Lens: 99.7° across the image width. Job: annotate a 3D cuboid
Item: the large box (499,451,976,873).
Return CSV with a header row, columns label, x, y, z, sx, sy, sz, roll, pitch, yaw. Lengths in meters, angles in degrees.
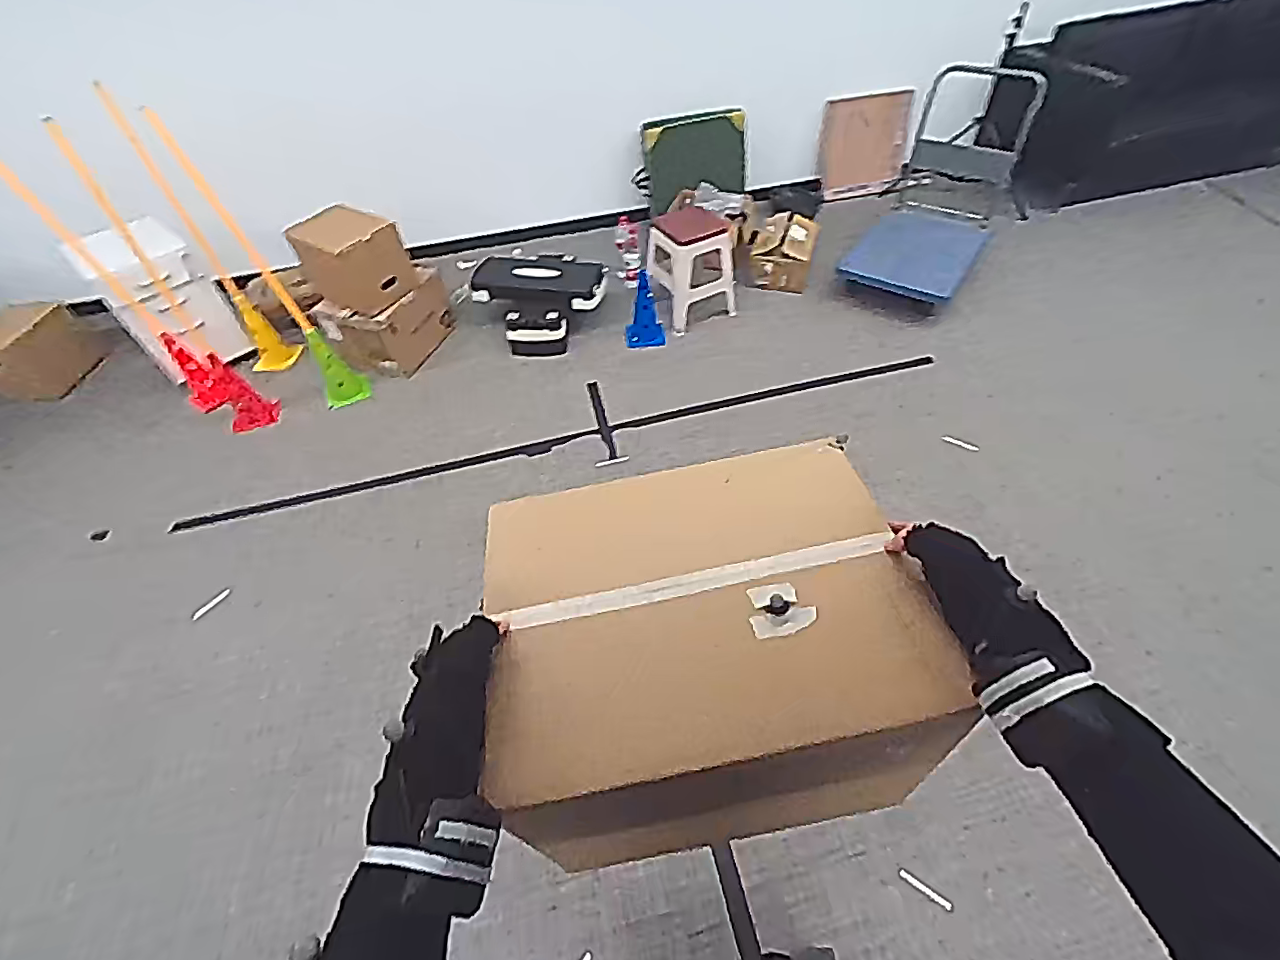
label,x,y,z,sx,sy,sz,roll,pitch,yaw
large box,0.073,0.214,0.638,0.408,0.320,0.320,-11,46,-1
